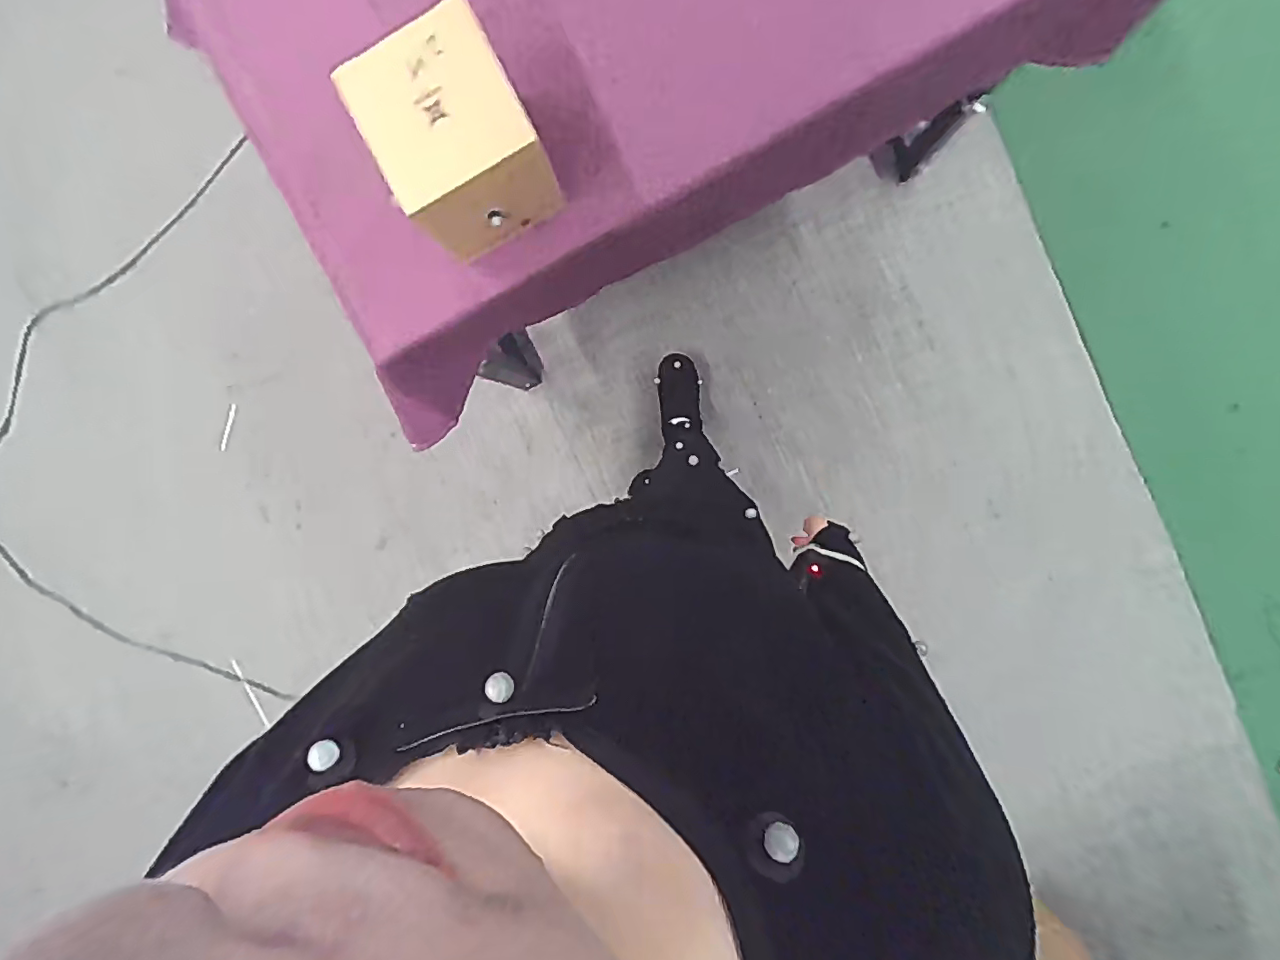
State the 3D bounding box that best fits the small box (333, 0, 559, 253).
[{"bbox_3d":[-0.217,-0.404,0.660,0.168,0.176,0.179,-27,91,4],"label":"small box"}]
